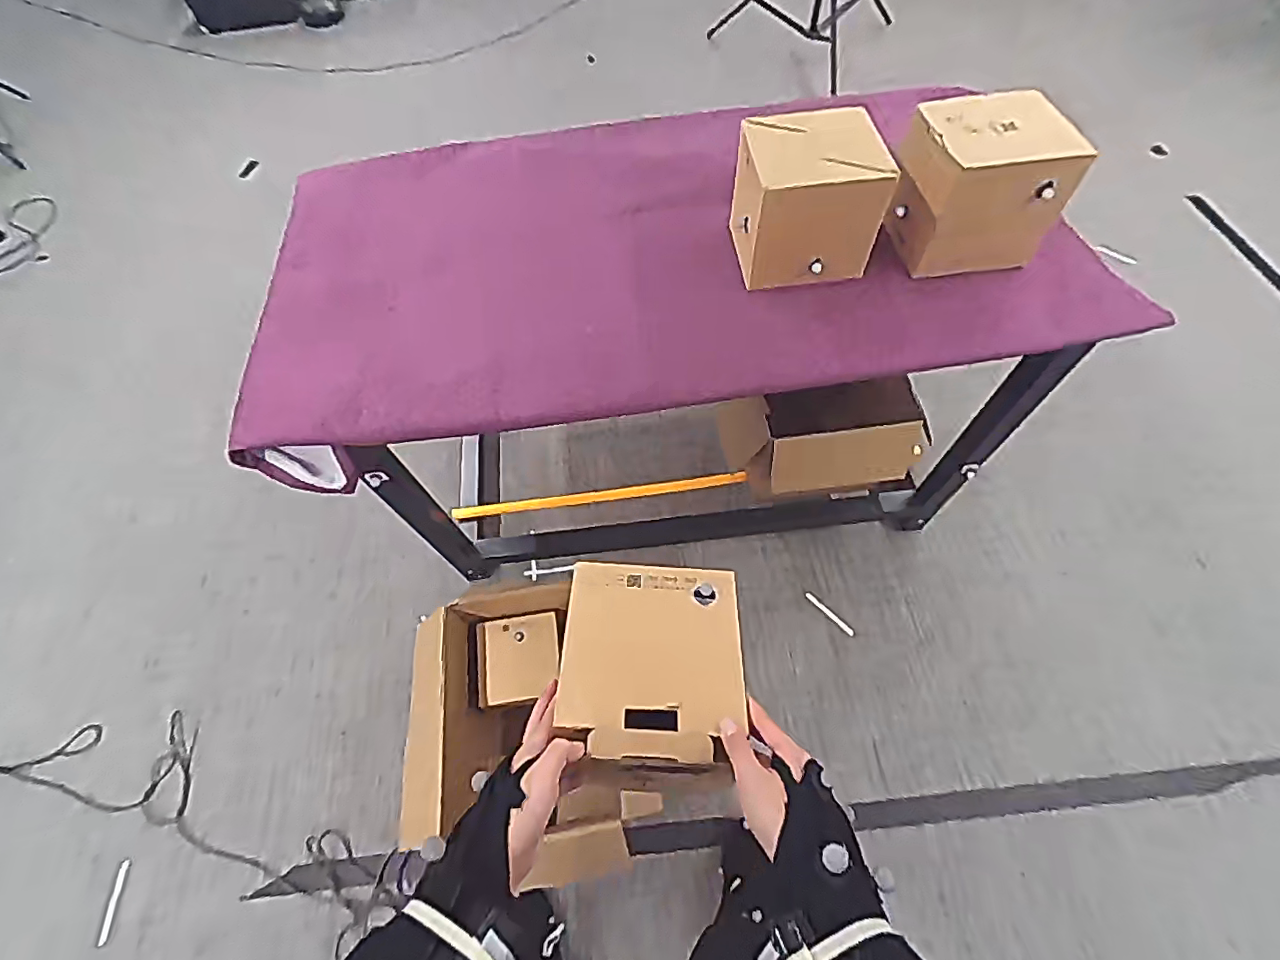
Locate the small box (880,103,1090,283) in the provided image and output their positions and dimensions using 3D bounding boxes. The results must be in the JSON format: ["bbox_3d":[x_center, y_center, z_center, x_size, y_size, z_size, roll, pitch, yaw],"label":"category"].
[{"bbox_3d":[0.485,-0.414,0.793,0.179,0.176,0.168,-6,58,0],"label":"small box"}]

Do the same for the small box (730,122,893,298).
[{"bbox_3d":[0.239,-0.397,0.799,0.179,0.176,0.168,-6,59,1],"label":"small box"}]
